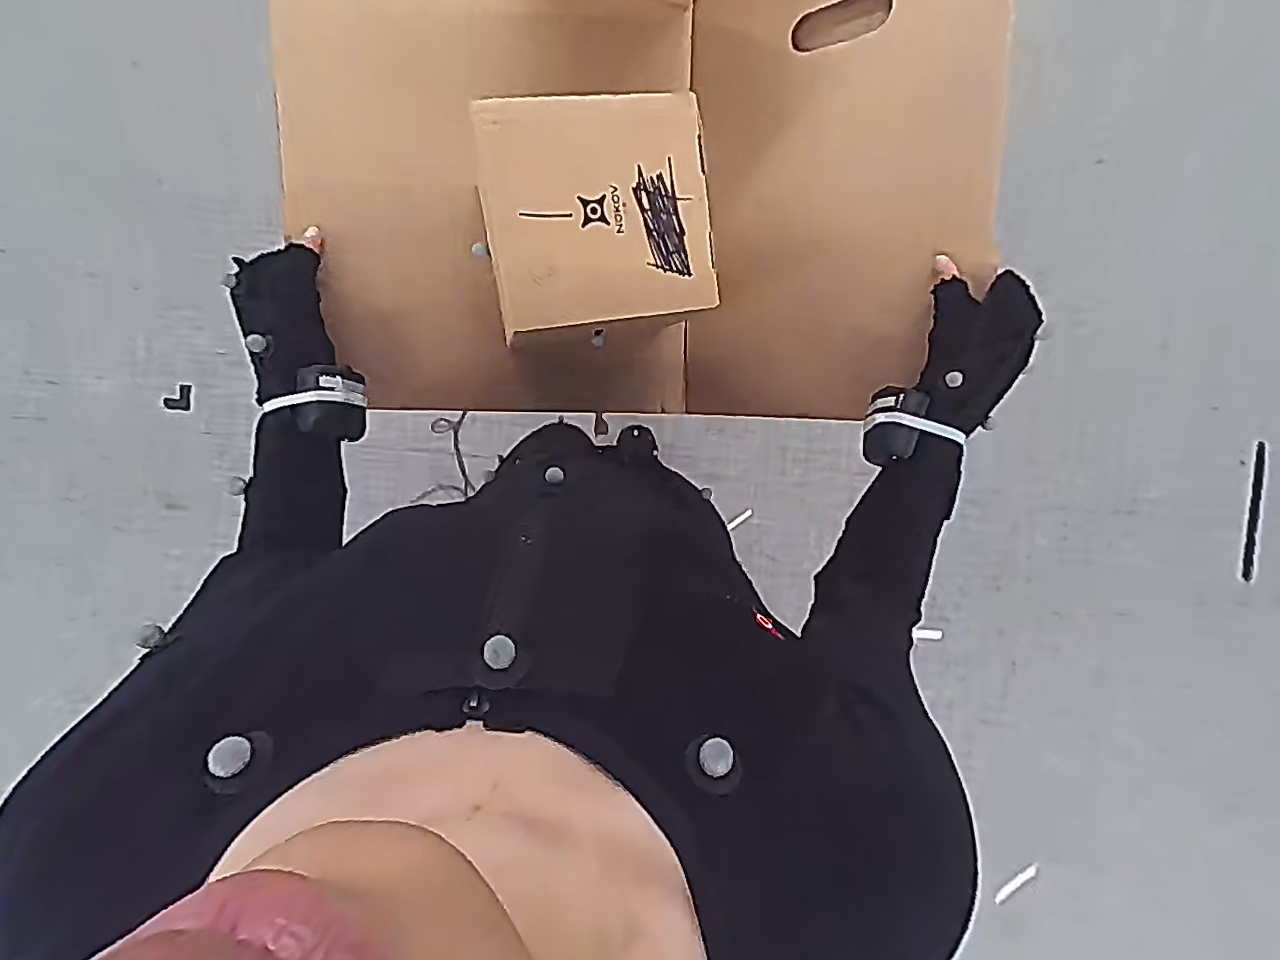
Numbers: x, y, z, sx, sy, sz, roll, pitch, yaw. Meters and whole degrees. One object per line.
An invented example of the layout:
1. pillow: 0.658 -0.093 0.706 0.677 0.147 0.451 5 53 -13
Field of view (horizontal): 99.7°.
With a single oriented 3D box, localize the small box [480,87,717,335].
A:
1. small box: -0.046 -0.235 0.507 0.179 0.176 0.168 -11 101 -12
